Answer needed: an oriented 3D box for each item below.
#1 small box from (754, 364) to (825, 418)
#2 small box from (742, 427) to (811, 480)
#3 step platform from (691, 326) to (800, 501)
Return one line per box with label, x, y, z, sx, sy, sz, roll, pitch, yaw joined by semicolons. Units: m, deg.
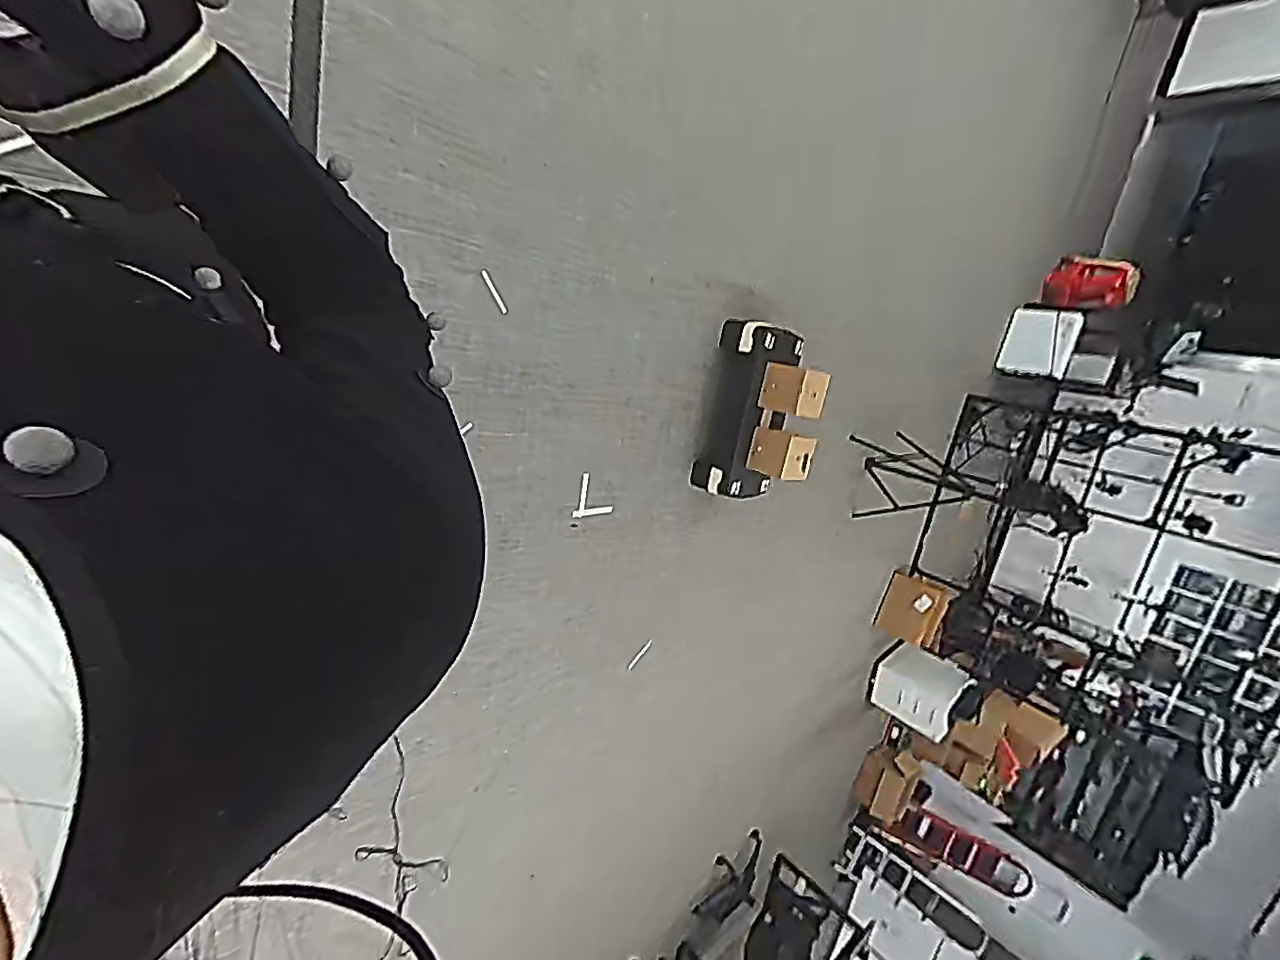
small box;0.553;-0.332;2.006;0.179;0.176;0.168;-1;107;-43
small box;0.521;-0.102;2.074;0.179;0.176;0.168;1;106;-43
step platform;0.427;-0.255;2.171;0.286;0.204;0.684;-3;108;-43
